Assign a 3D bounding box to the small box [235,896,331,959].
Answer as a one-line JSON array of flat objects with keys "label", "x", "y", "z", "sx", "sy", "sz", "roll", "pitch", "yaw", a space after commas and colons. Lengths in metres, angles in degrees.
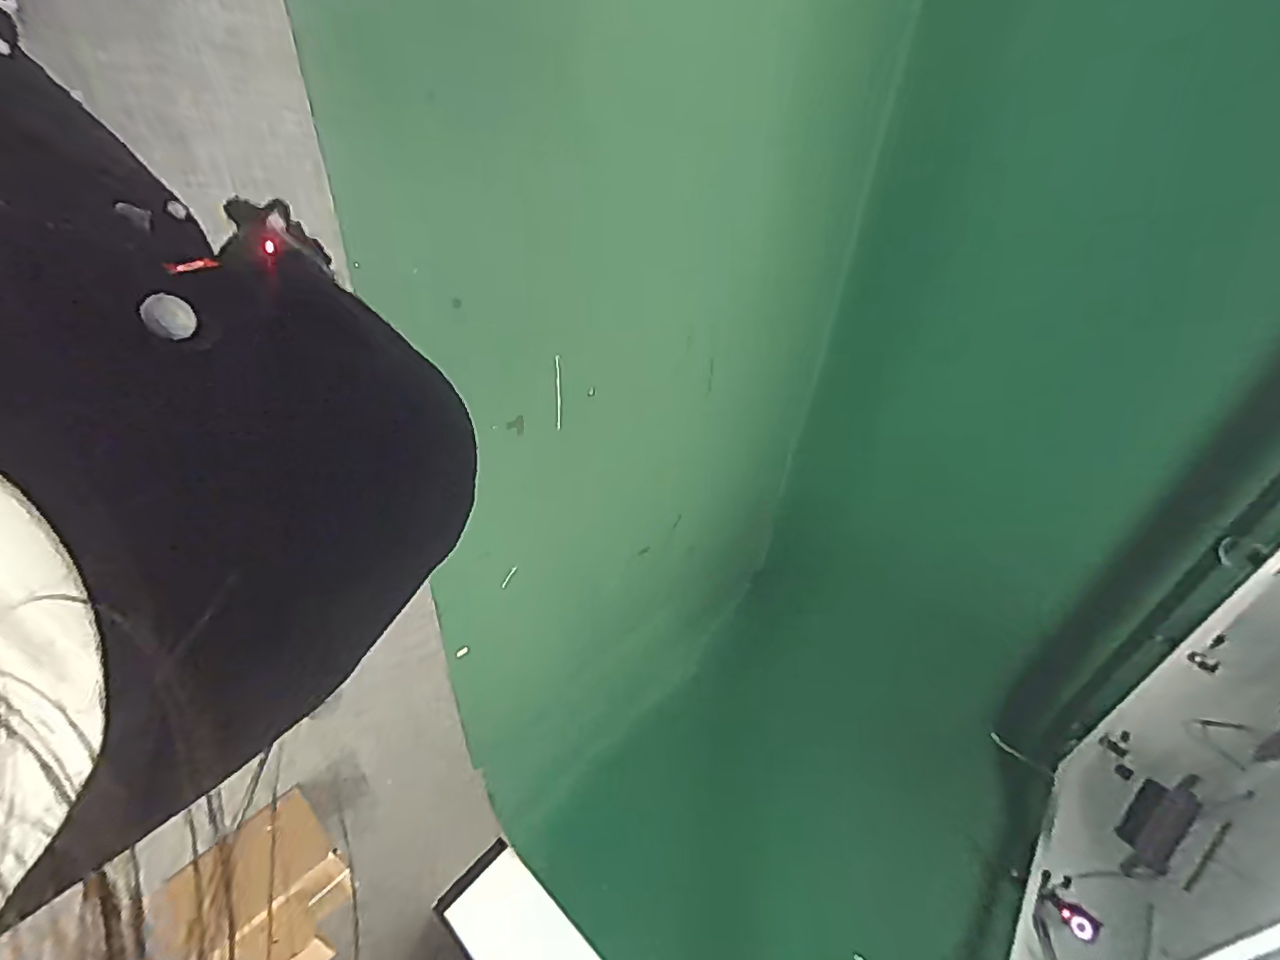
[{"label": "small box", "x": -1.093, "y": 1.429, "z": 1.655, "sx": 0.168, "sy": 0.176, "sz": 0.179, "roll": -34, "pitch": 139, "yaw": -37}]
